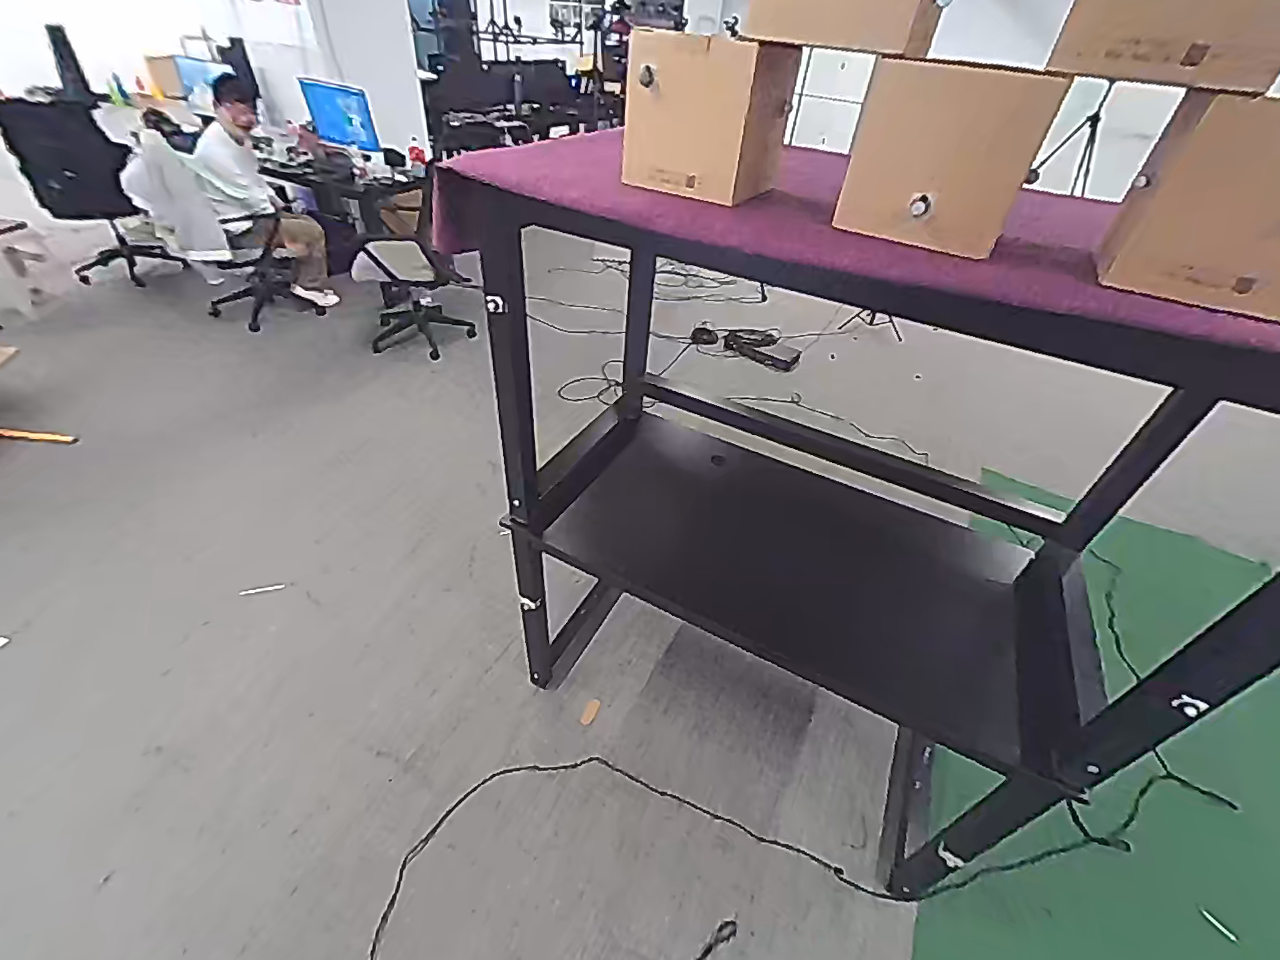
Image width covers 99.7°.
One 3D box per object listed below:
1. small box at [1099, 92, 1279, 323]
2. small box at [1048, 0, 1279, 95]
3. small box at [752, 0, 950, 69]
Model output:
[{"bbox_3d":[0.595,-0.271,0.532,0.168,0.176,0.179,25,42,22],"label":"small box"},{"bbox_3d":[0.495,-0.448,0.475,0.168,0.176,0.179,25,43,22],"label":"small box"},{"bbox_3d":[0.237,-0.551,0.568,0.179,0.176,0.168,24,42,20],"label":"small box"}]
